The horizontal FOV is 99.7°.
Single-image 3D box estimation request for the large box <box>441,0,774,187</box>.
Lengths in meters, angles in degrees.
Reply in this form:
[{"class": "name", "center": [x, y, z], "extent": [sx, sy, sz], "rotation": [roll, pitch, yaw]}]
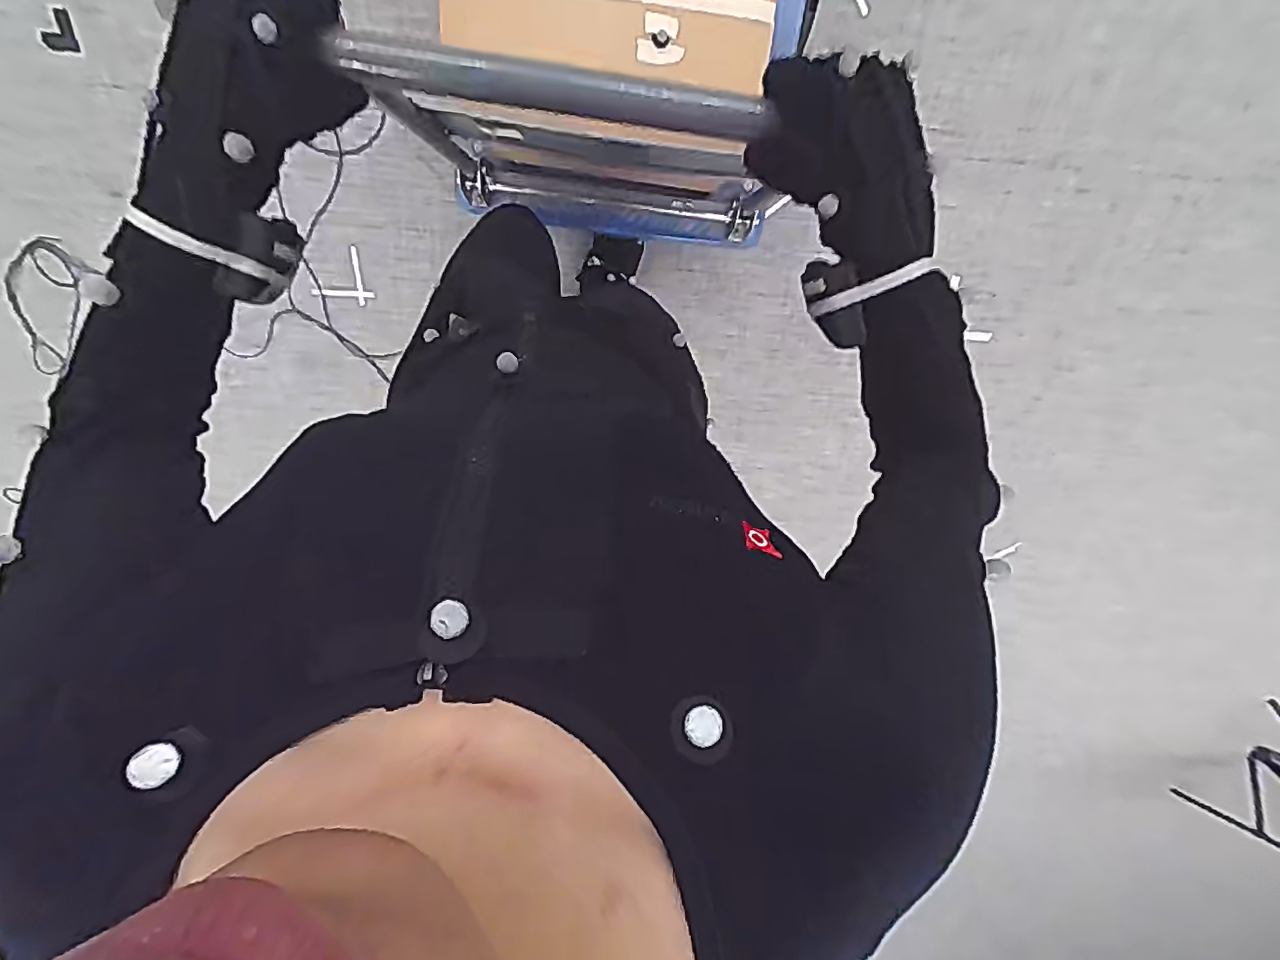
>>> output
[{"class": "large box", "center": [-0.044, -0.639, 0.780], "extent": [0.408, 0.320, 0.320], "rotation": [6, 112, -5]}]
